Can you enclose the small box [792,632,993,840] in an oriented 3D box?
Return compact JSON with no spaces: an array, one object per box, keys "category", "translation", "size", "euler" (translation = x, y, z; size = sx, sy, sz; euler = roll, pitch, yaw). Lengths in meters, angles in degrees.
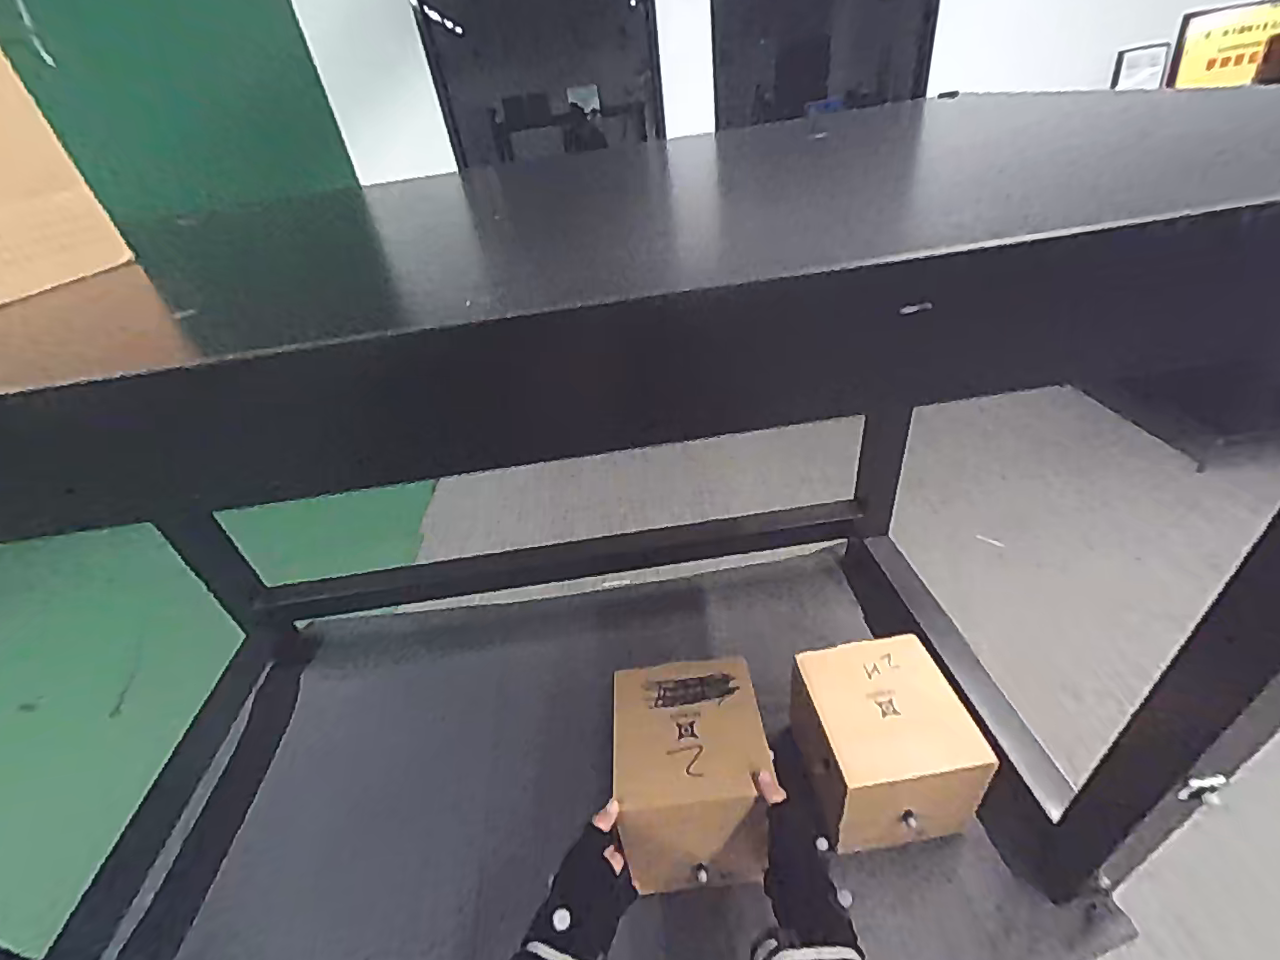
[{"category":"small box","translation":[0.302,0.328,0.689],"size":[0.168,0.176,0.179],"euler":[-10,34,-1]}]
